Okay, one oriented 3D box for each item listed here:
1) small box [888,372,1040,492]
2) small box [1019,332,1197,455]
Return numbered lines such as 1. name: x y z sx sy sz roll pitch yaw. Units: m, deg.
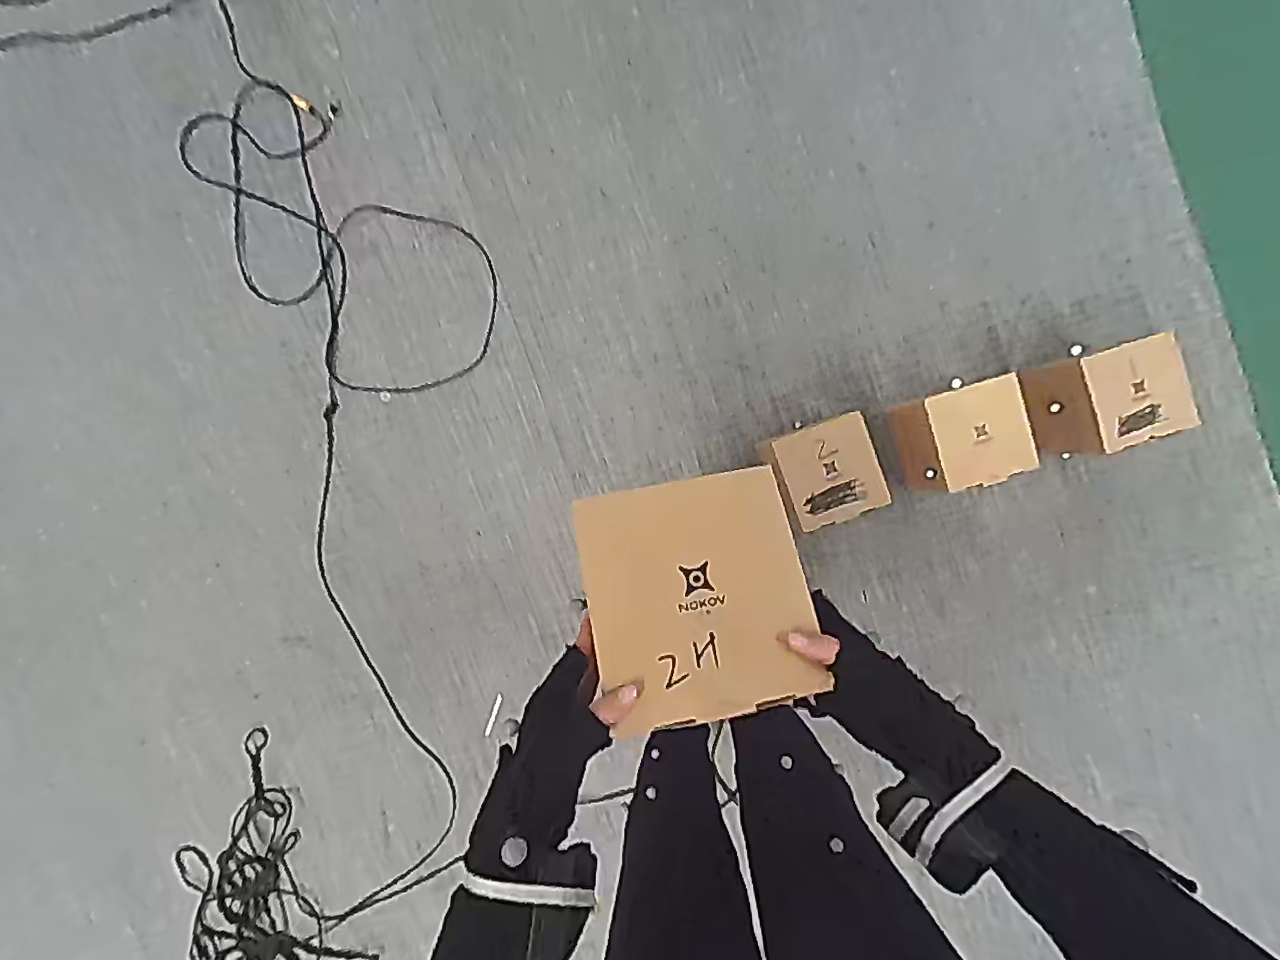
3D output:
1. small box: 0.596 -0.085 1.019 0.168 0.176 0.179 -17 92 2
2. small box: 0.857 -0.153 1.007 0.168 0.176 0.179 -17 91 2
